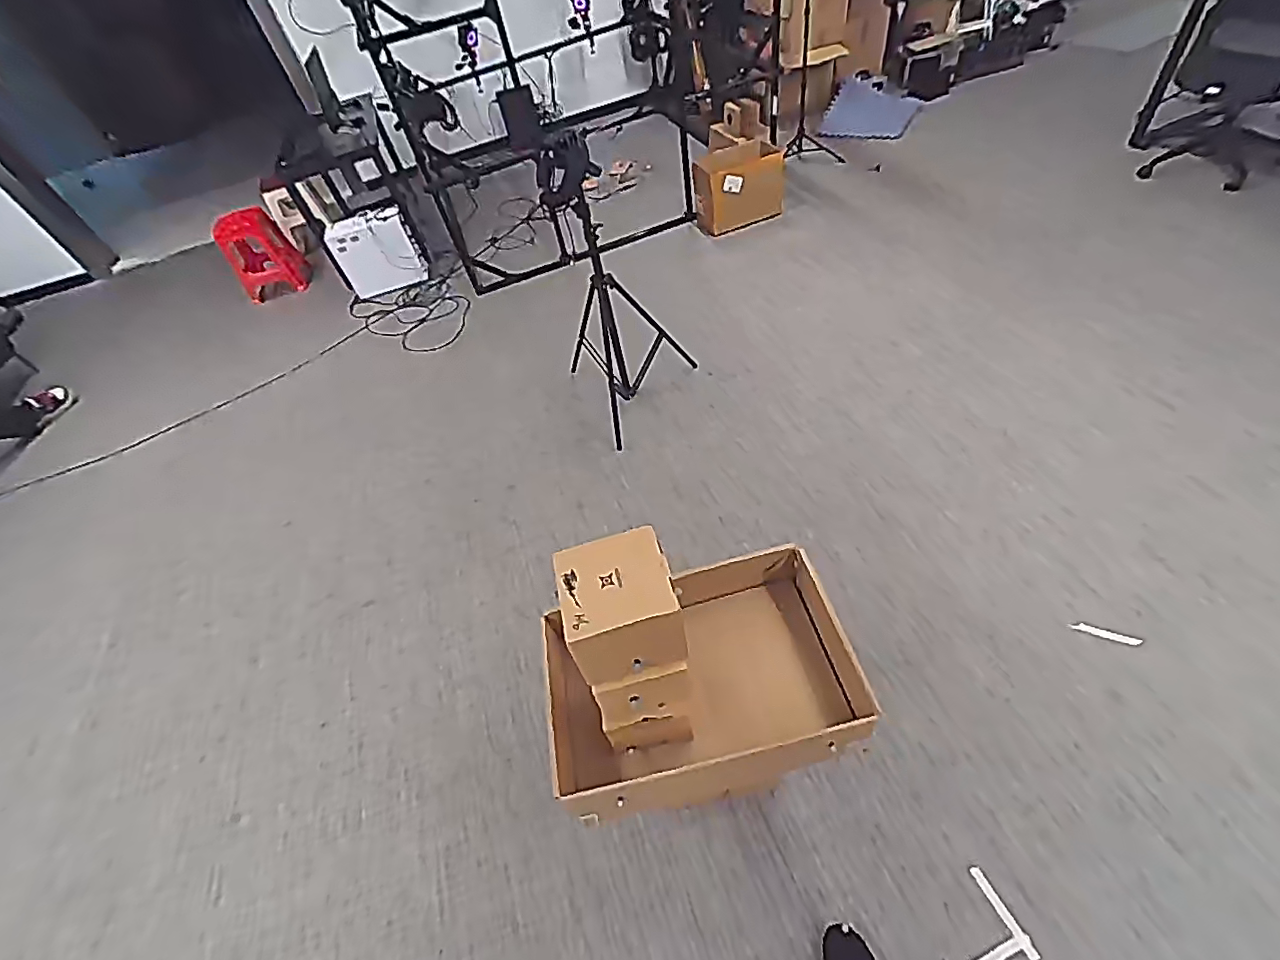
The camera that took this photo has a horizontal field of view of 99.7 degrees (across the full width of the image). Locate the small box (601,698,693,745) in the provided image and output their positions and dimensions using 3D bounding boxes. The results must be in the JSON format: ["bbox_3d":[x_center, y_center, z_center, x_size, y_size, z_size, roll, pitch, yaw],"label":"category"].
[{"bbox_3d":[0.012,0.434,1.125,0.168,0.176,0.179,-12,48,1],"label":"small box"}]

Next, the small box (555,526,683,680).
[{"bbox_3d":[-0.030,0.206,0.895,0.179,0.176,0.168,-15,48,-3],"label":"small box"}]

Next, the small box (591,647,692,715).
[{"bbox_3d":[-0.004,0.319,1.011,0.168,0.176,0.179,-14,48,-2],"label":"small box"}]
